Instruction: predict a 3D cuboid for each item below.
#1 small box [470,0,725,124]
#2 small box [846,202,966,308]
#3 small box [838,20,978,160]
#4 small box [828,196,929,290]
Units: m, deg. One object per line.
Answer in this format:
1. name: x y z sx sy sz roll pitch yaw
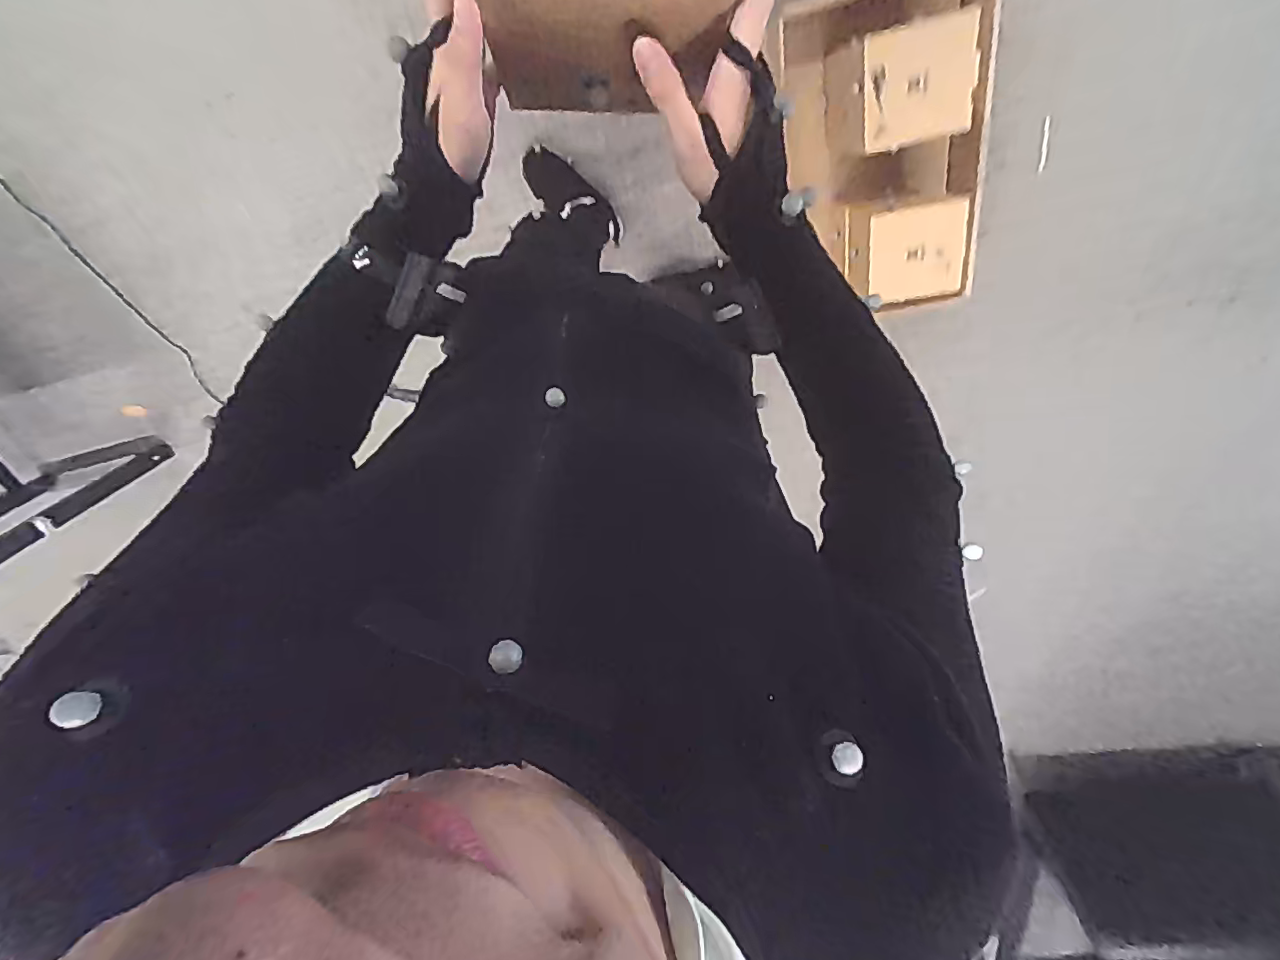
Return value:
1. small box: -0.032 -0.387 0.380 0.168 0.176 0.179 0 101 -3
2. small box: 0.530 -0.463 1.108 0.179 0.176 0.168 -6 120 8
3. small box: 0.468 -0.689 0.971 0.179 0.176 0.168 -8 120 10
4. small box: 0.540 -0.549 1.249 0.179 0.176 0.168 -7 120 9
